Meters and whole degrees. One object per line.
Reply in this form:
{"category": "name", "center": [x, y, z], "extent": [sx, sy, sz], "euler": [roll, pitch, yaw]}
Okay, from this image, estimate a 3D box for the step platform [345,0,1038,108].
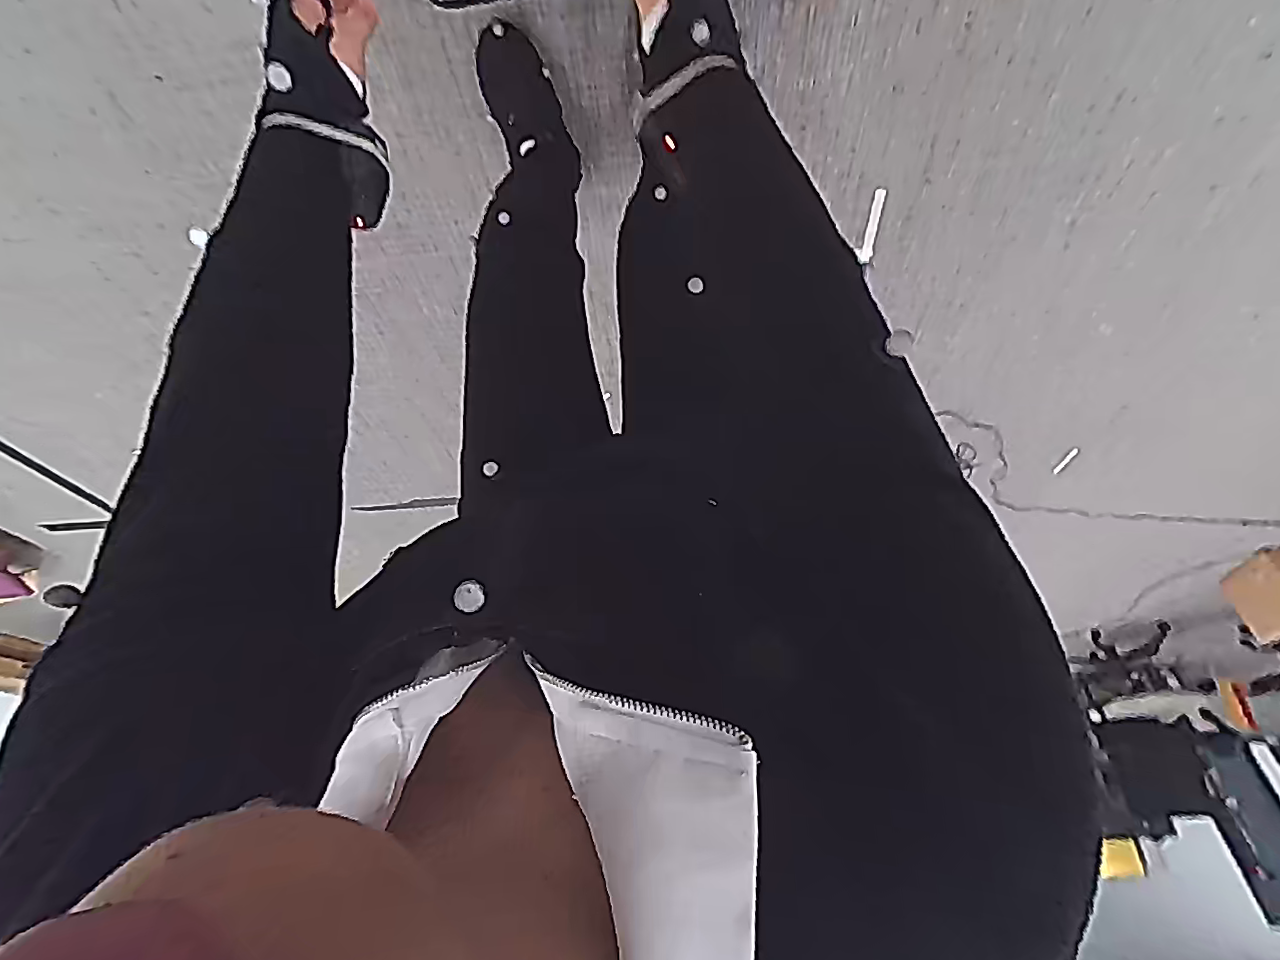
{"category": "step platform", "center": [0.055, -0.577, 0.496], "extent": [0.684, 0.204, 0.286], "euler": [-6, 145, 4]}
